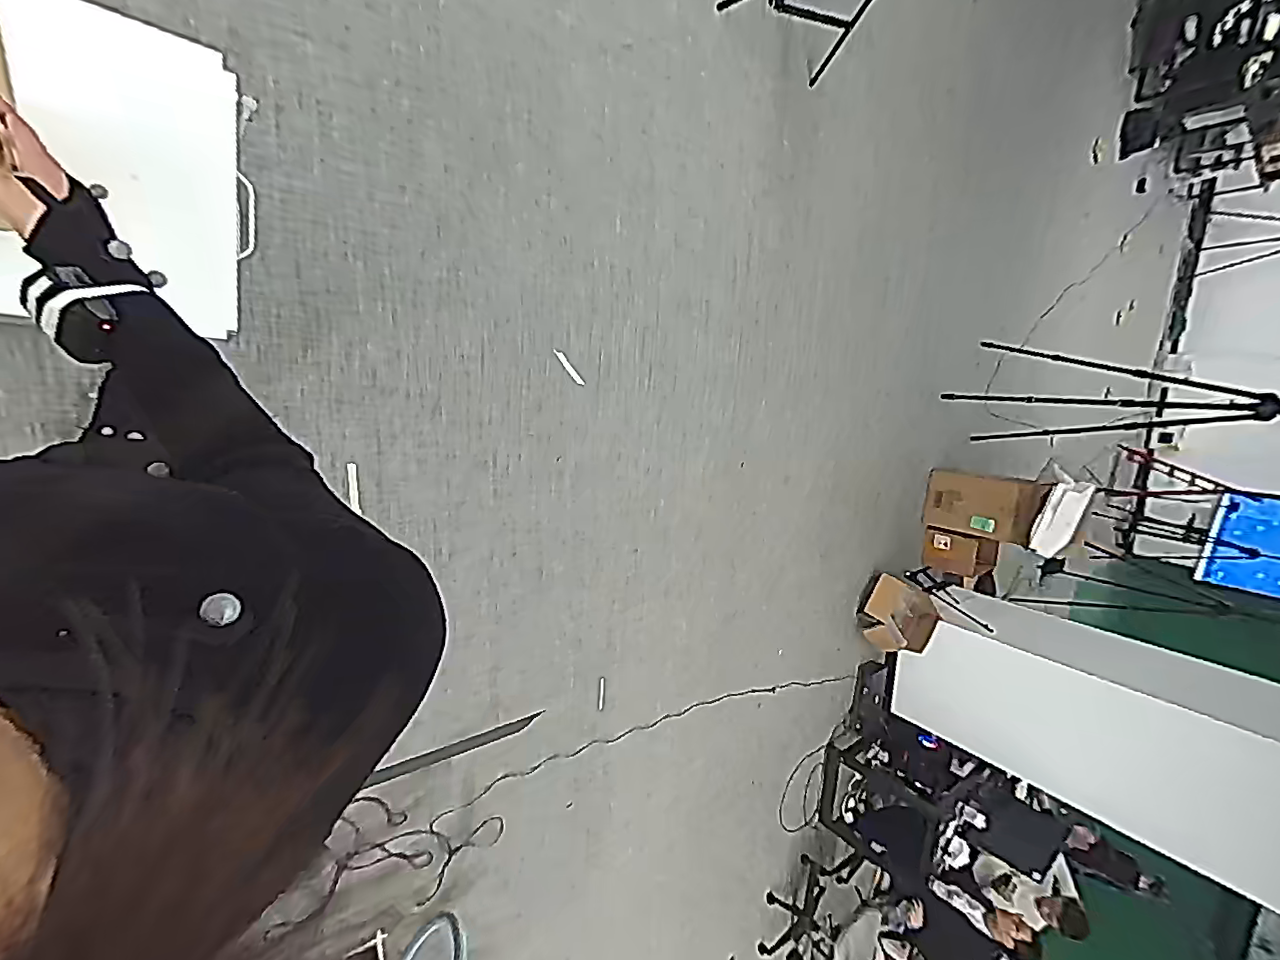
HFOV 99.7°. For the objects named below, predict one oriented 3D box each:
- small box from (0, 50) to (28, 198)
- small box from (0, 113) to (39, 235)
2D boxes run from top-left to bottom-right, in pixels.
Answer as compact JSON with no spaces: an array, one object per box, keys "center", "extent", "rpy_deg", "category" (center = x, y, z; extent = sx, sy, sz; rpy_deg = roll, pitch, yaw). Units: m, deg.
[{"center":[-0.653,-0.352,0.443],"extent":[0.168,0.176,0.179],"rpy_deg":[-10,105,-38],"category":"small box"},{"center":[-0.776,-0.360,0.553],"extent":[0.179,0.176,0.168],"rpy_deg":[-11,107,-38],"category":"small box"}]
